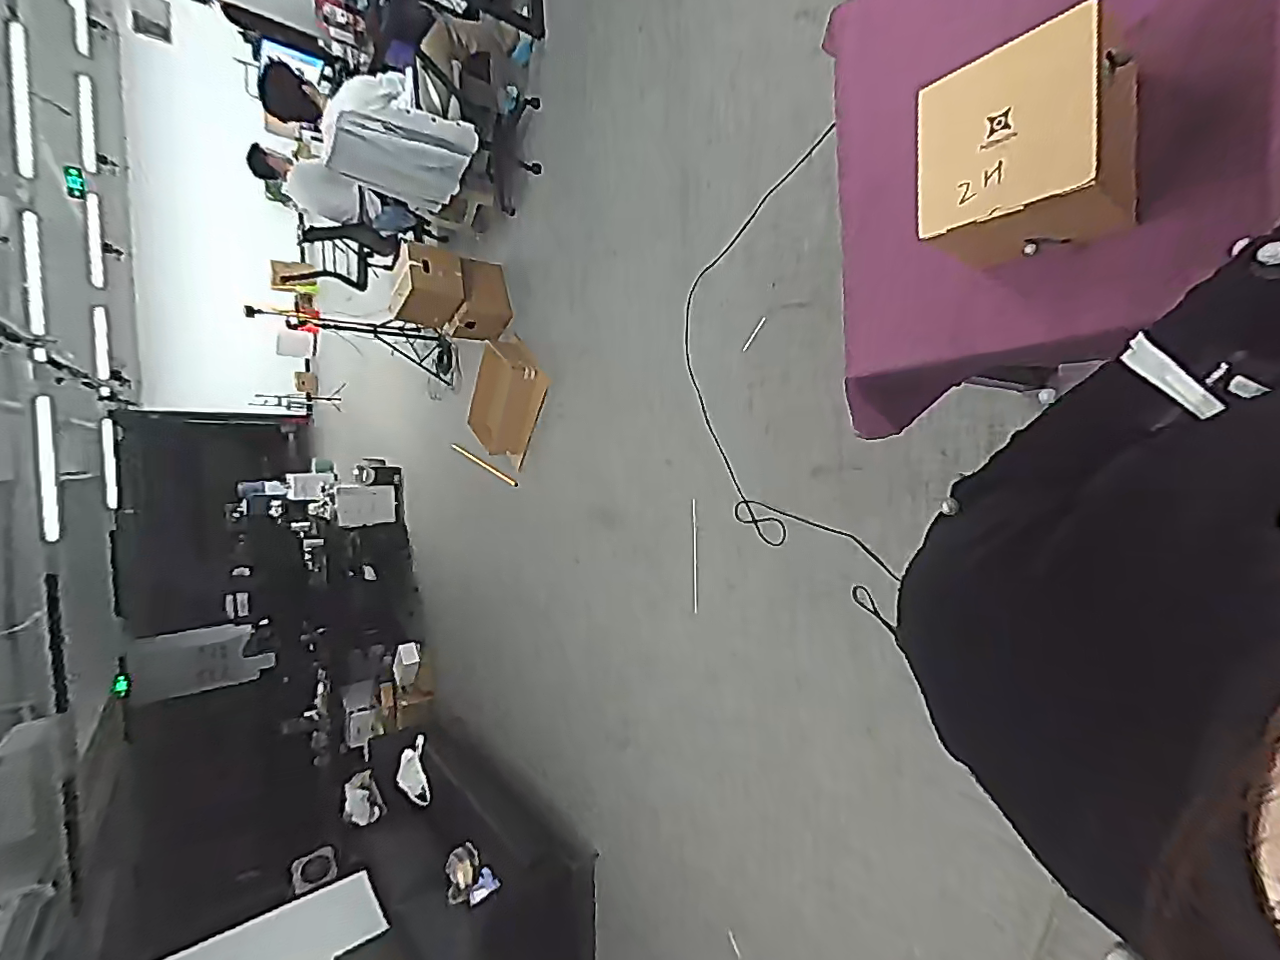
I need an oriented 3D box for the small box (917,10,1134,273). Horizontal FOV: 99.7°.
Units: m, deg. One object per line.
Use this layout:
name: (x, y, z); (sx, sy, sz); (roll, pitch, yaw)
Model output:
small box: (0.443, -0.363, 0.624); (0.168, 0.176, 0.179); (1, 92, 52)
